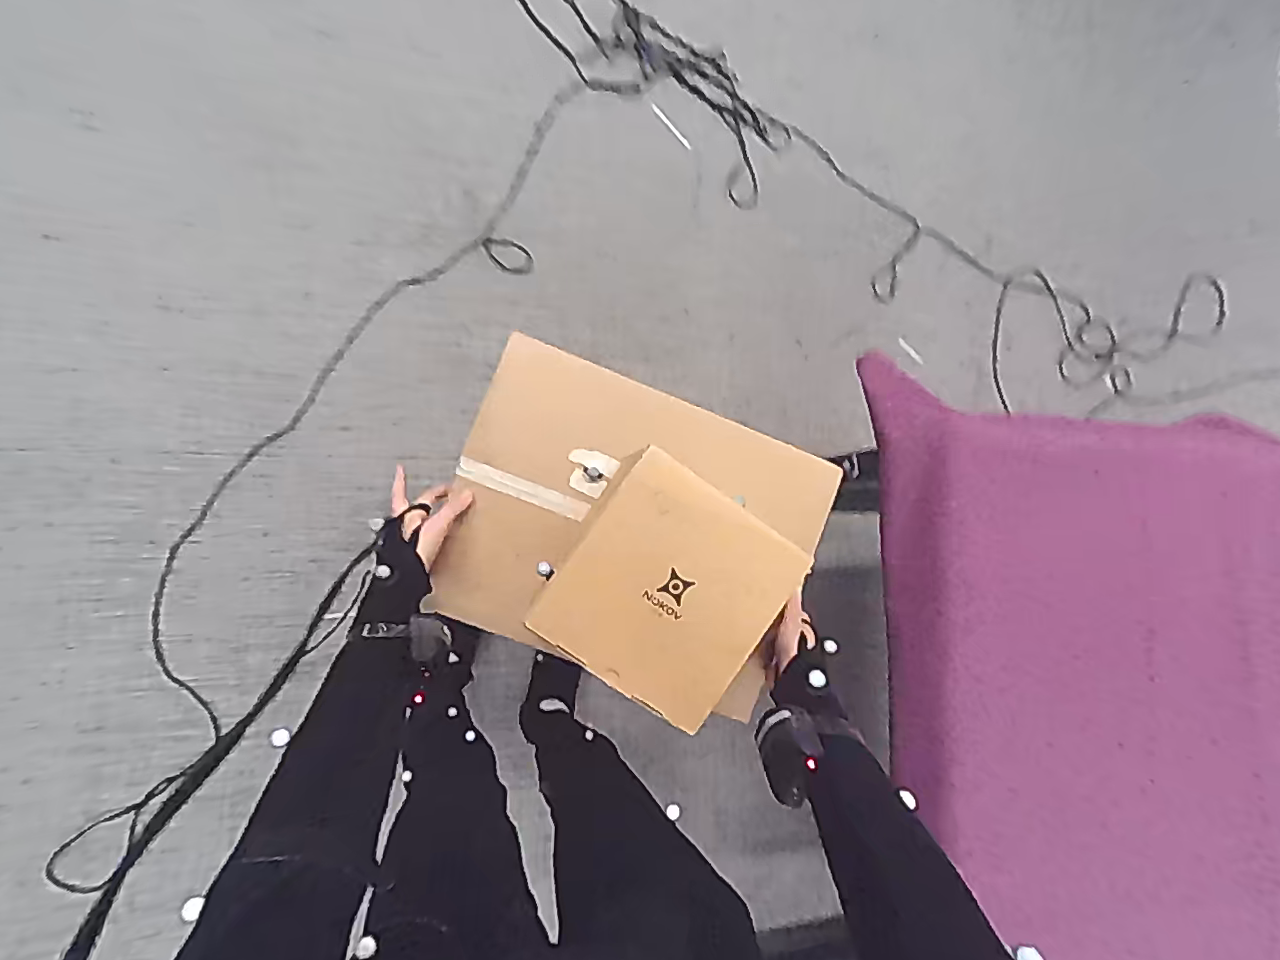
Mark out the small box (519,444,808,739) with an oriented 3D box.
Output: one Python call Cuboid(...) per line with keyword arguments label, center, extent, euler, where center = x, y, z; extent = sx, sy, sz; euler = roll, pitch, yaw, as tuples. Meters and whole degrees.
Cuboid(label="small box", center=(0.012, 0.084, 0.495), extent=(0.168, 0.176, 0.179), euler=(34, 89, -5))
